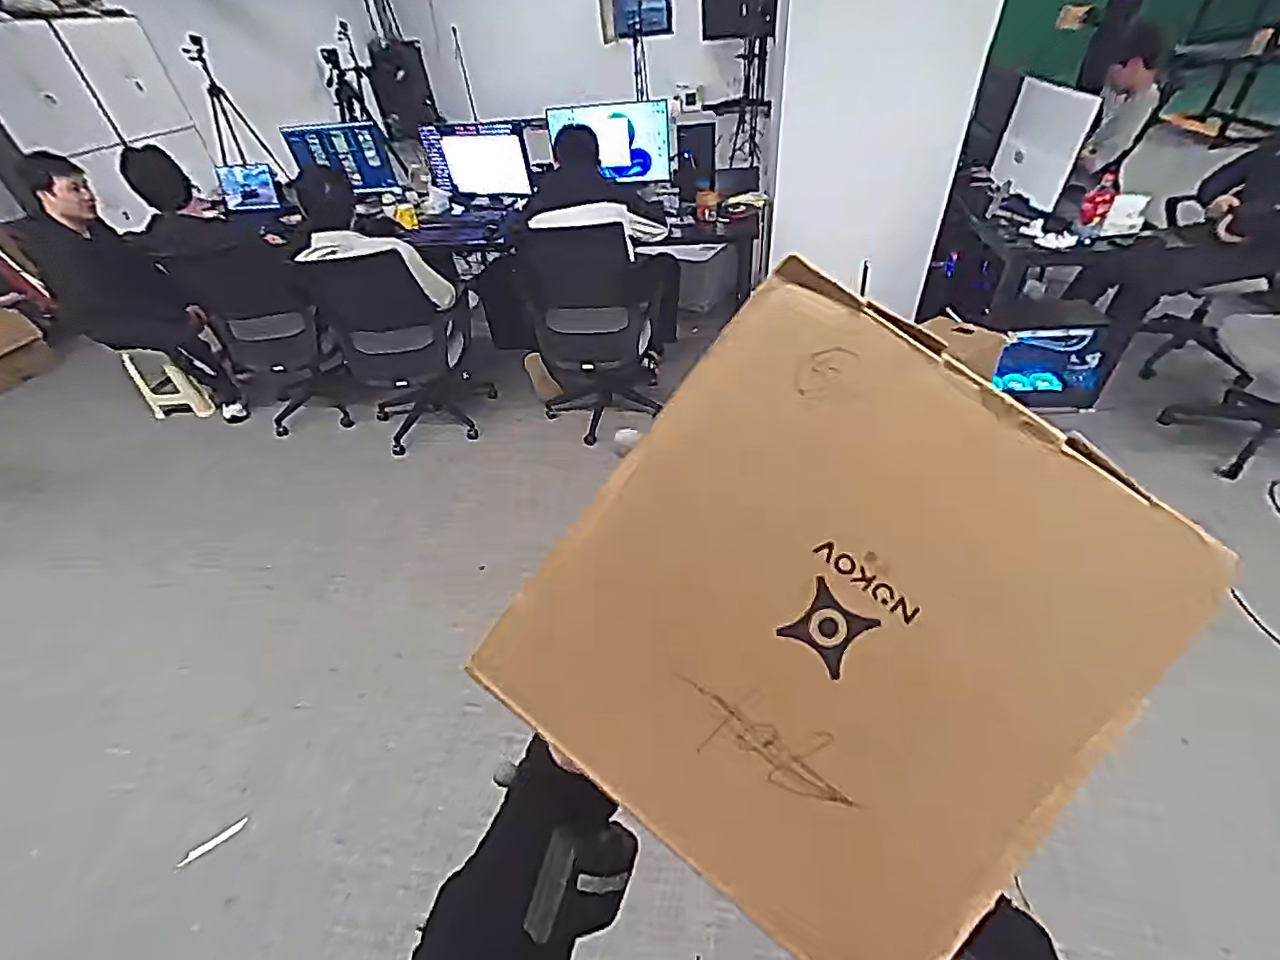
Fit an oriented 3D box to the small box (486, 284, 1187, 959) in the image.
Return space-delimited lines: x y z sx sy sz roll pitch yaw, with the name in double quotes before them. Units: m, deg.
"small box" 0.067 0.052 0.259 0.168 0.176 0.179 37 90 8
